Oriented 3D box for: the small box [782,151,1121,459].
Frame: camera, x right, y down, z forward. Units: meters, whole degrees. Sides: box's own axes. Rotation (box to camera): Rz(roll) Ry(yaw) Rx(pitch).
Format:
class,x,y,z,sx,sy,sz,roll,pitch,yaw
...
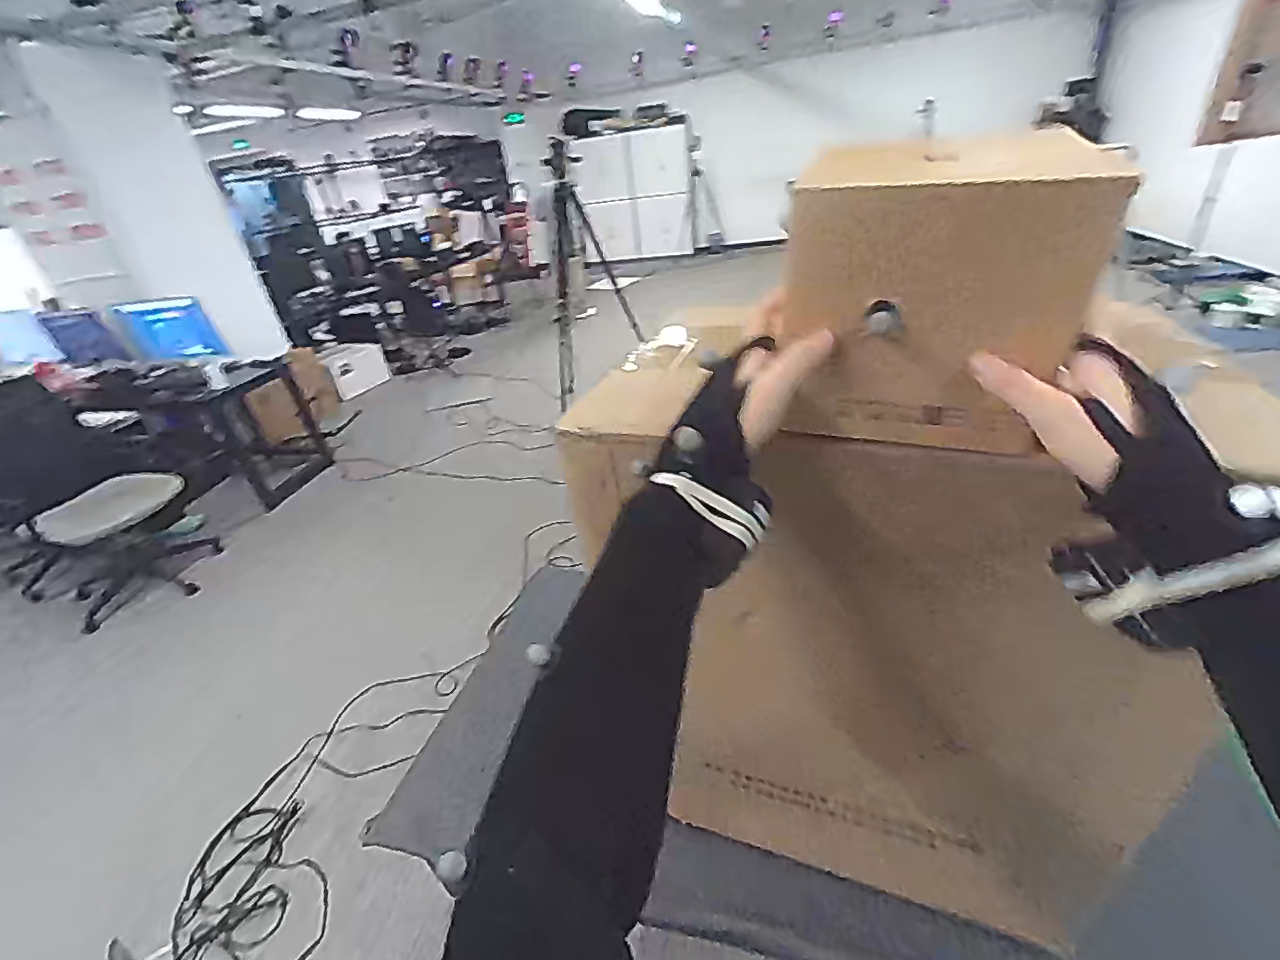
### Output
class,x,y,z,sx,sy,sz,roll,pitch,yaw
small box,0.201,-0.130,0.398,0.168,0.176,0.179,8,35,21
